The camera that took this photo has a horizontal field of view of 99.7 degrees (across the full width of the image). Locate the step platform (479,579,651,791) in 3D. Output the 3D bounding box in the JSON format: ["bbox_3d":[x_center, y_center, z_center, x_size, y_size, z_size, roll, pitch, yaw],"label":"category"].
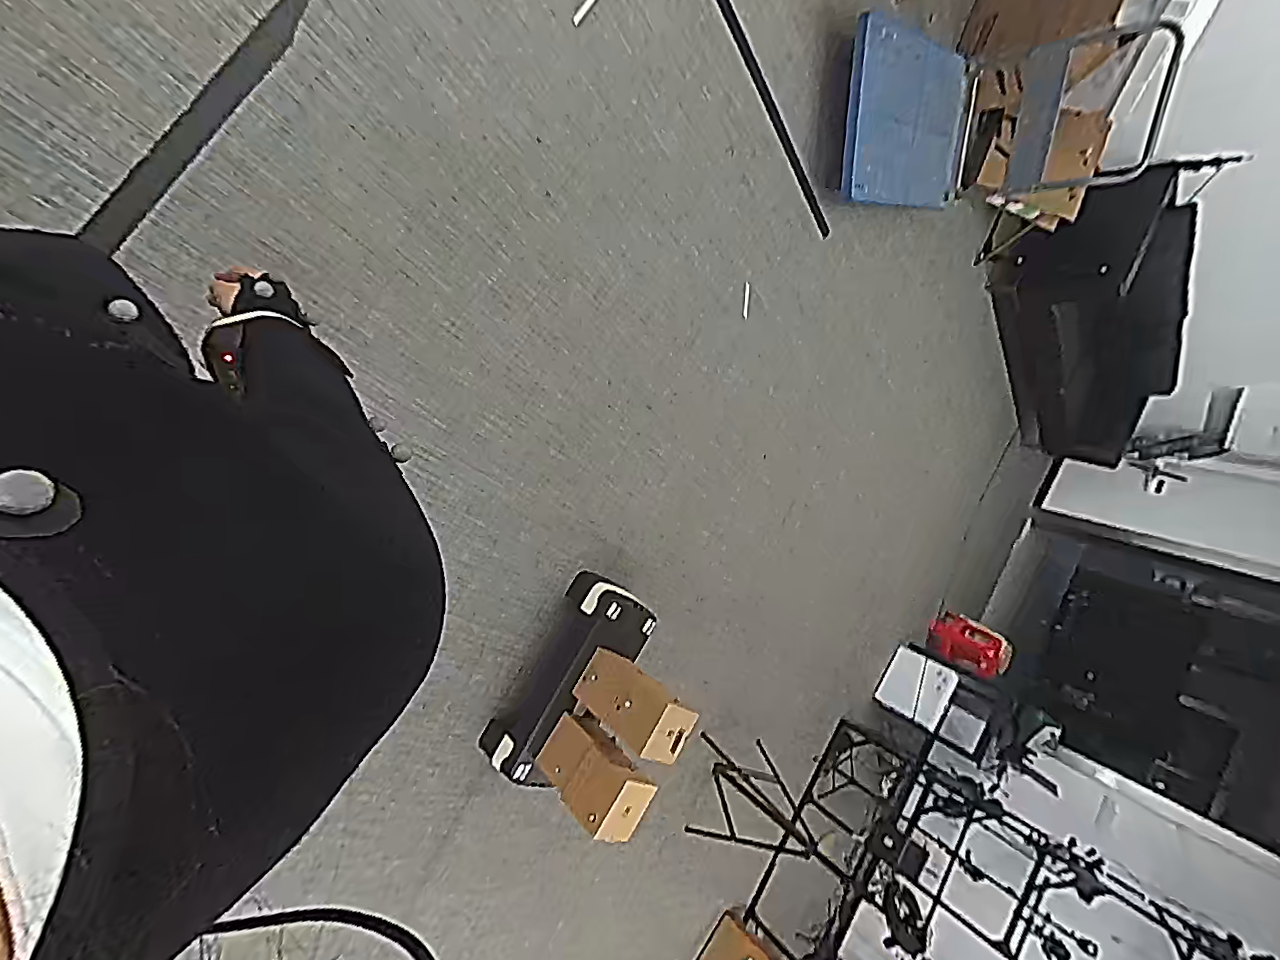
[{"bbox_3d":[-0.239,0.698,1.849,0.286,0.204,0.684,38,78,-44],"label":"step platform"}]

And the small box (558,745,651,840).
[{"bbox_3d":[-0.107,0.905,1.572,0.168,0.176,0.179,42,76,-43],"label":"small box"}]

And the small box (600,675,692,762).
[{"bbox_3d":[0.017,0.707,1.612,0.179,0.176,0.168,40,77,-42],"label":"small box"}]

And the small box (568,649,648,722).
[{"bbox_3d":[-0.094,0.664,1.726,0.179,0.176,0.168,41,76,-43],"label":"small box"}]
